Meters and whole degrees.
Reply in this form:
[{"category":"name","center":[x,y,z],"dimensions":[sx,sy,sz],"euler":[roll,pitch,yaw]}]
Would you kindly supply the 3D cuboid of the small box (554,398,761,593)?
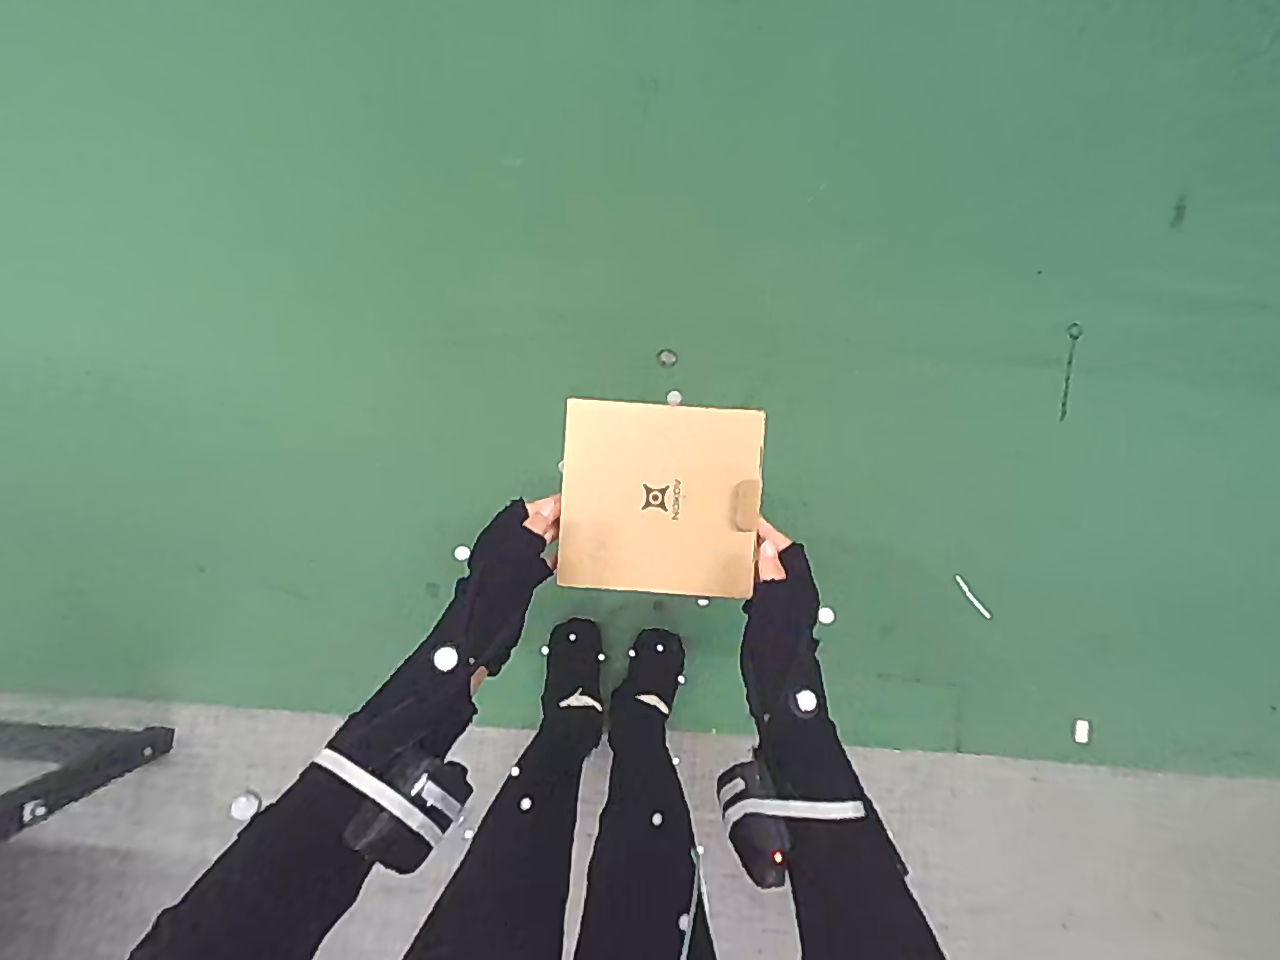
[{"category":"small box","center":[0.016,0.014,0.558],"dimensions":[0.179,0.176,0.168],"euler":[3,90,0]}]
